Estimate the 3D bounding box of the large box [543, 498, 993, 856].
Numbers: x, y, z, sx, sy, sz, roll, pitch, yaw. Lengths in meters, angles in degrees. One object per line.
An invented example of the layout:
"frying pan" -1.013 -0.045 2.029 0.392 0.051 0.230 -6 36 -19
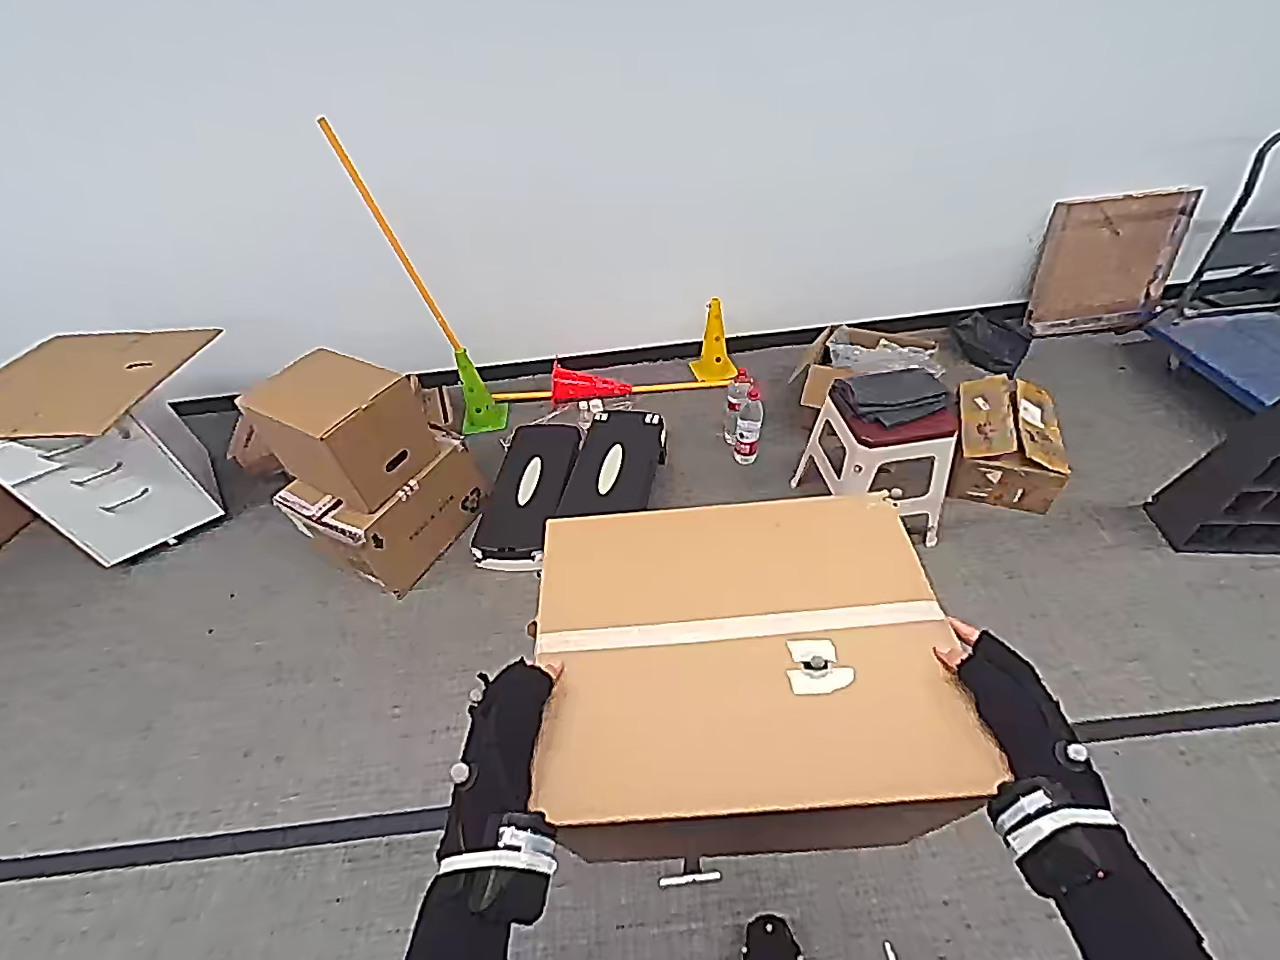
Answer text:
"large box" 0.110 0.252 0.676 0.408 0.320 0.320 -5 51 1
